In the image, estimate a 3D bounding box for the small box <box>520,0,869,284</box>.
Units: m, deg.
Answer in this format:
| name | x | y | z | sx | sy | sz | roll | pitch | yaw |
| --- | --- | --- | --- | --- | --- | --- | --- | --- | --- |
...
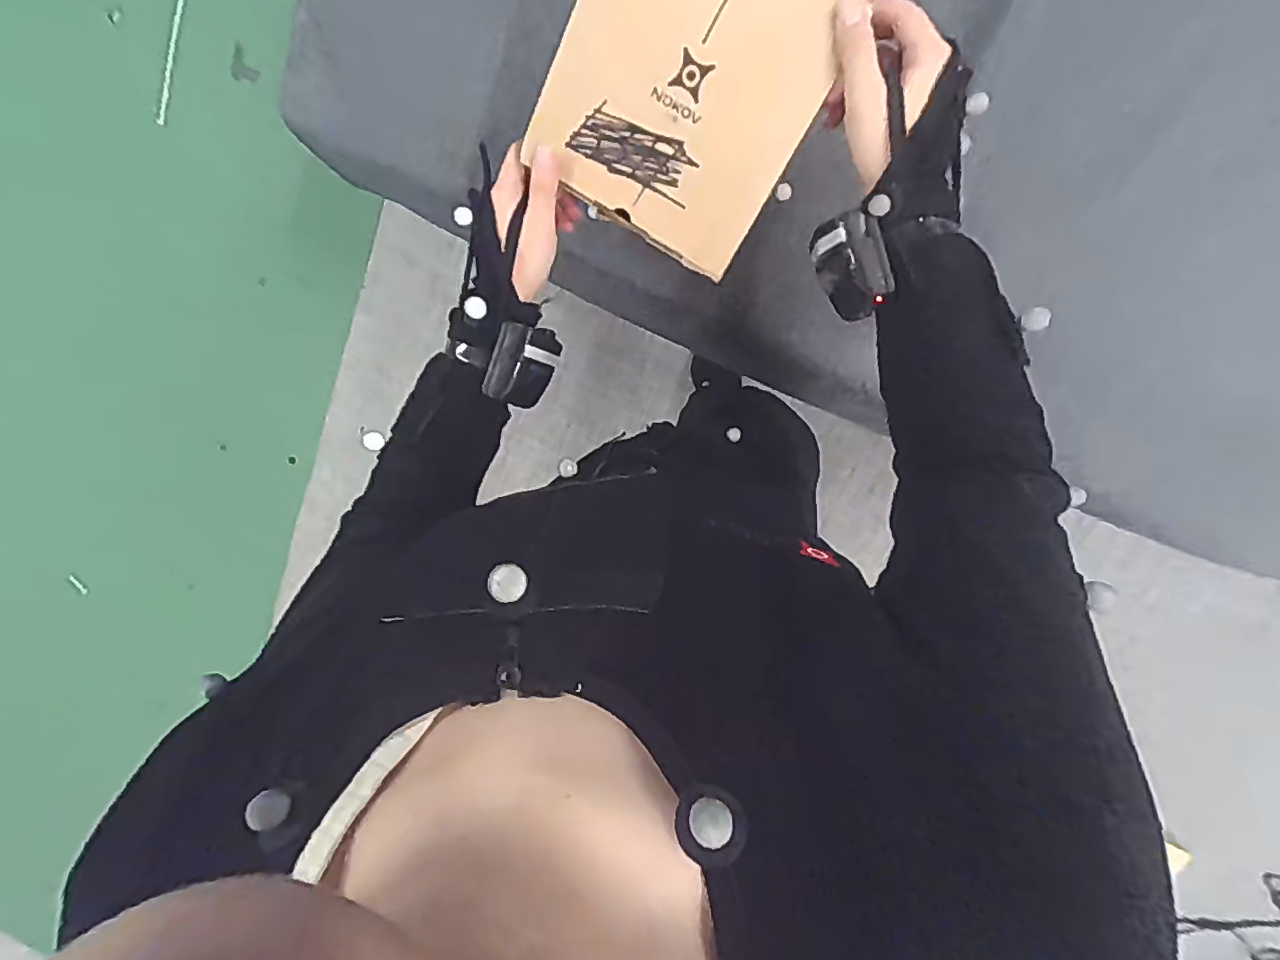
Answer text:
| name | x | y | z | sx | sy | sz | roll | pitch | yaw |
| --- | --- | --- | --- | --- | --- | --- | --- | --- | --- |
| small box | 0.039 | -0.275 | 0.418 | 0.168 | 0.176 | 0.179 | 31 | 113 | -5 |
